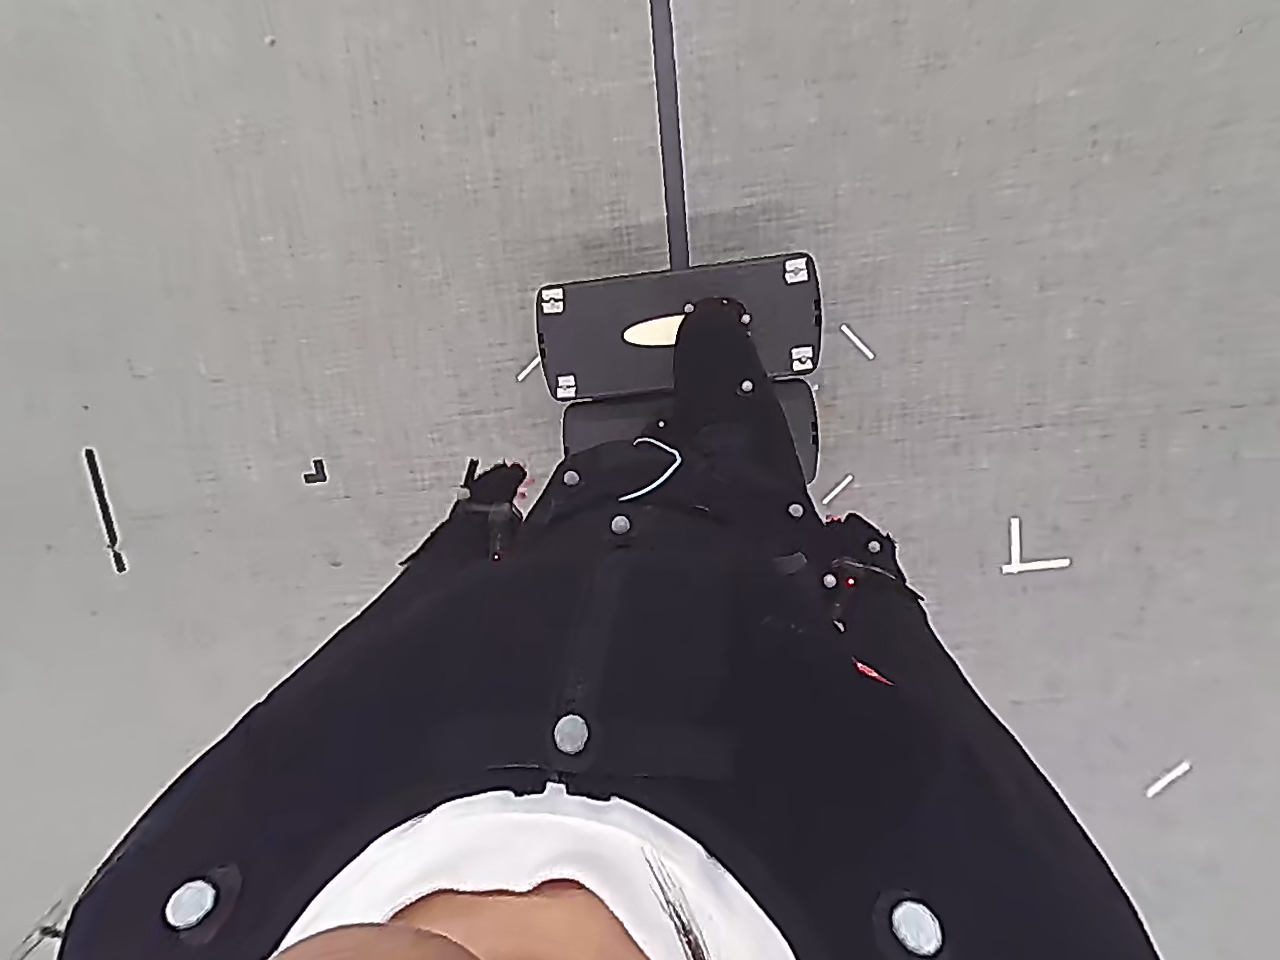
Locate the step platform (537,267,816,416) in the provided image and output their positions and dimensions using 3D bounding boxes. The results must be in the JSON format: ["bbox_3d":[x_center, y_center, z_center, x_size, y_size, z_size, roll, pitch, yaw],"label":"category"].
[{"bbox_3d":[0.086,-0.341,1.365,0.684,0.204,0.286,-7,102,5],"label":"step platform"}]
